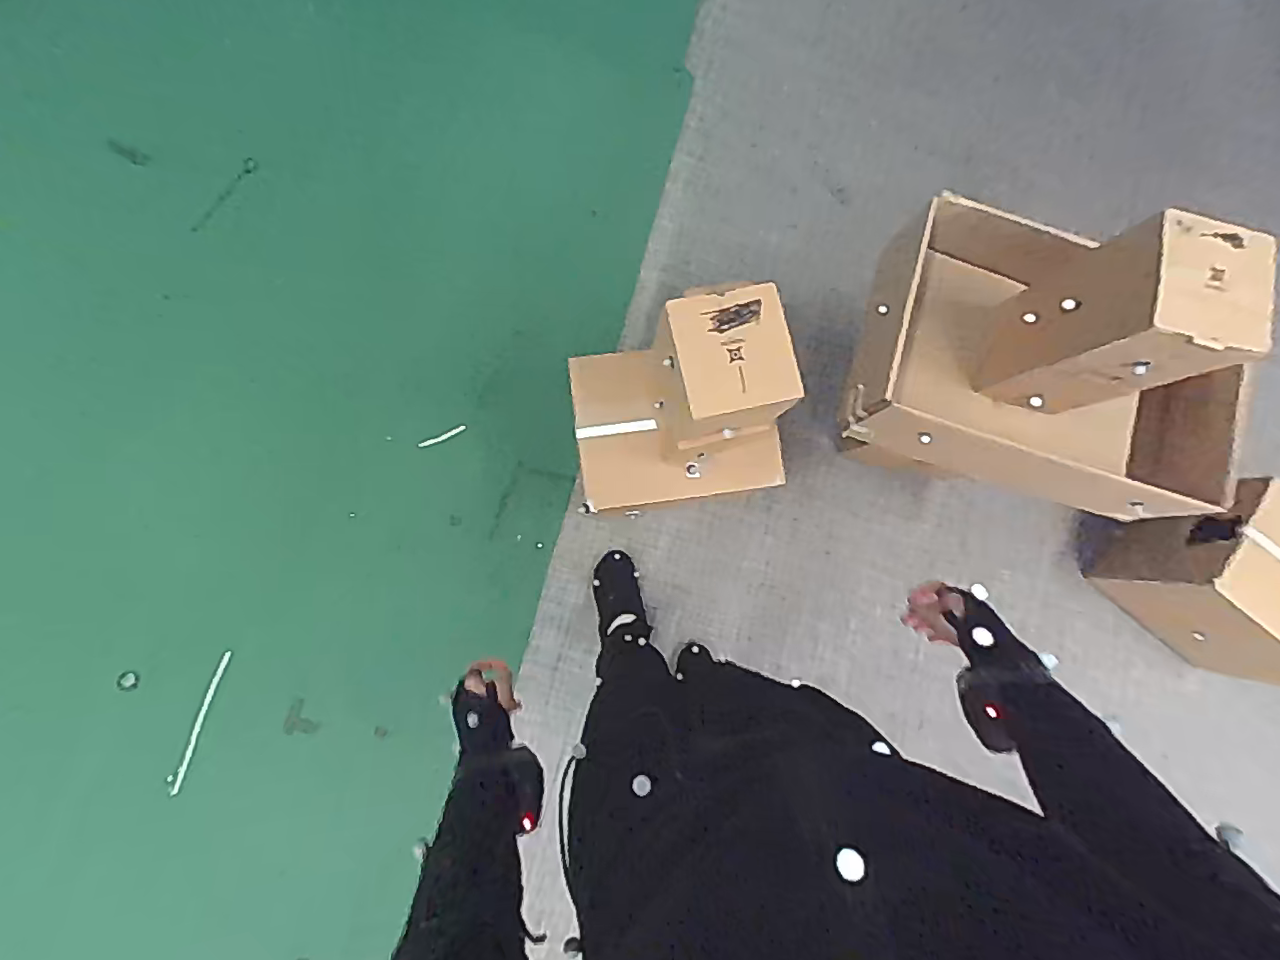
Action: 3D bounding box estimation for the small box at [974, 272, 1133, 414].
[{"bbox_3d":[0.735,-0.235,0.964,0.168,0.176,0.179,15,83,-3],"label":"small box"}]

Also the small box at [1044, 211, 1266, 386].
[{"bbox_3d":[0.746,-0.254,0.801,0.168,0.176,0.179,13,83,-4],"label":"small box"}]

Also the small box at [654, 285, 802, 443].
[{"bbox_3d":[0.123,-0.171,0.838,0.168,0.176,0.179,-12,83,-6],"label":"small box"}]
